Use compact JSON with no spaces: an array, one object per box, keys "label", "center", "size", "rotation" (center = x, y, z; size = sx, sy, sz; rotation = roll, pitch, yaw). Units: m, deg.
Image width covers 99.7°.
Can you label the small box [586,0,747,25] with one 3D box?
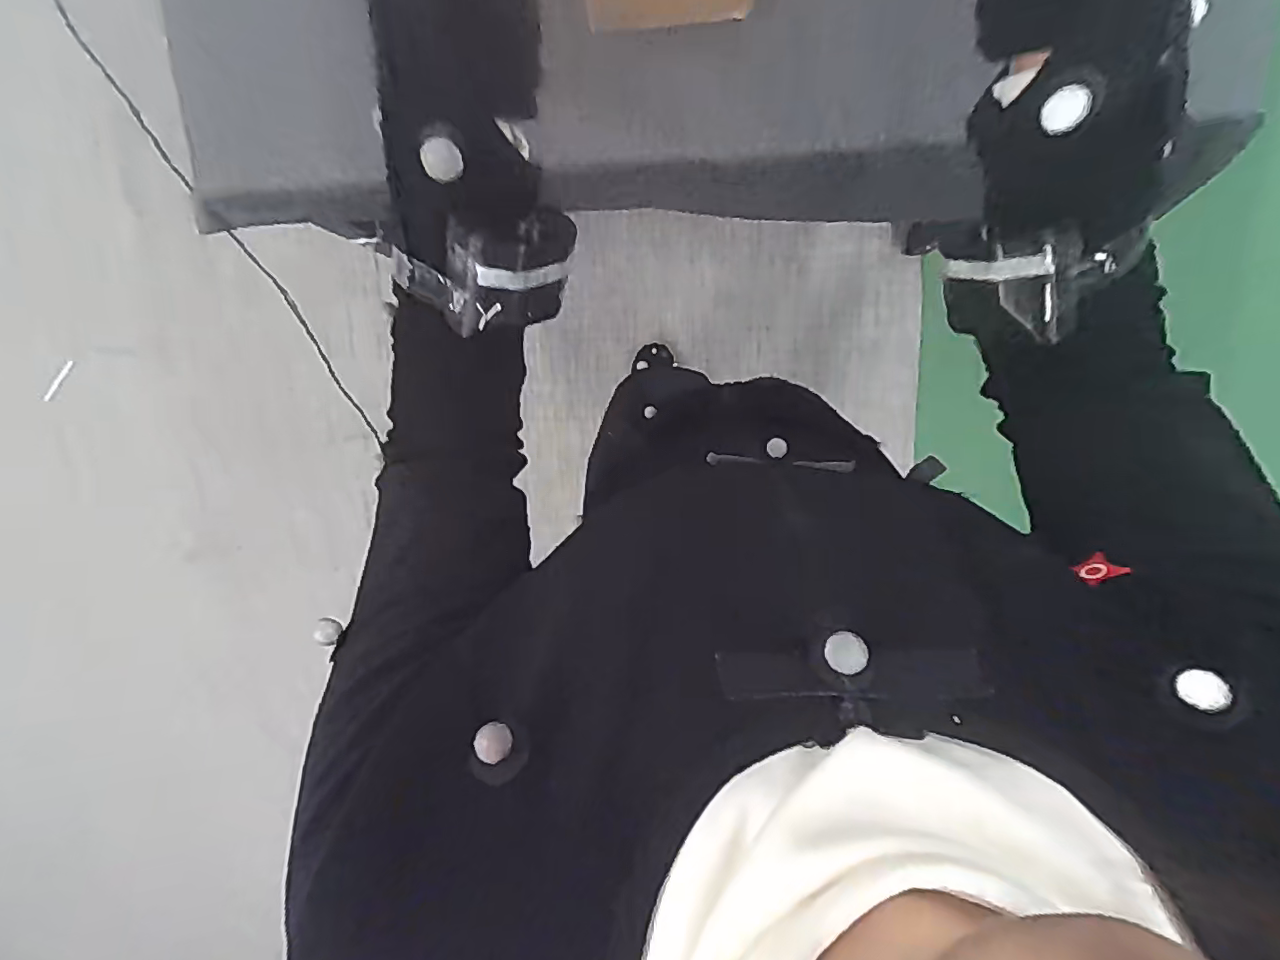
[{"label":"small box","center":[0.024,-0.562,0.498],"size":[0.179,0.176,0.168],"rotation":[-4,102,1]}]
